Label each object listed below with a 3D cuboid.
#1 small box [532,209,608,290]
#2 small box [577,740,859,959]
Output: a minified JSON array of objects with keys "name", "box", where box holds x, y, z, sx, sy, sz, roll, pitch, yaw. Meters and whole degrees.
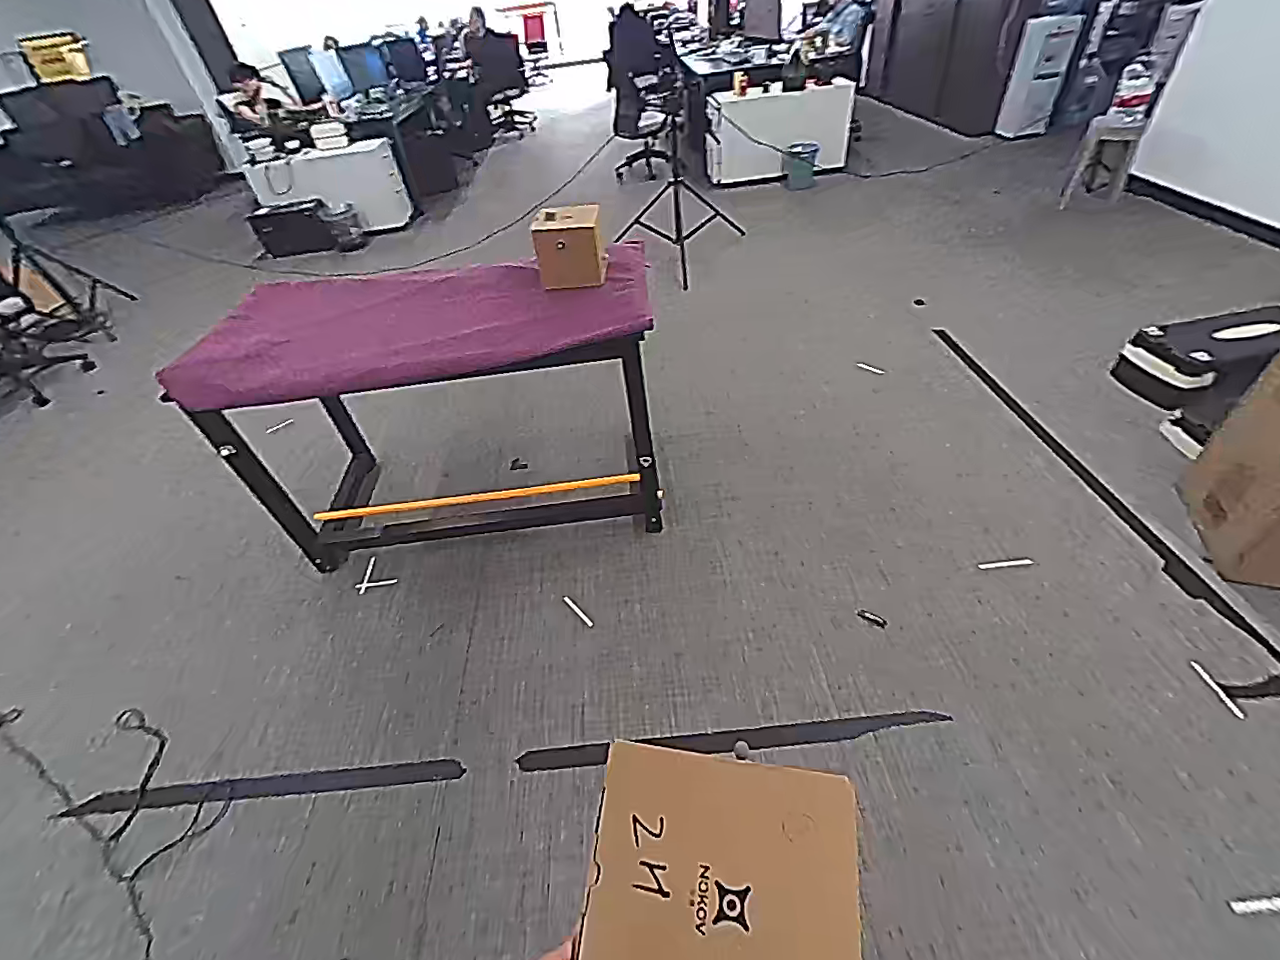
[{"name":"small box","box":[-0.195,-0.659,1.556,0.179,0.176,0.168,-2,45,4]},{"name":"small box","box":[0.061,0.310,0.421,0.179,0.176,0.168,4,60,10]}]
